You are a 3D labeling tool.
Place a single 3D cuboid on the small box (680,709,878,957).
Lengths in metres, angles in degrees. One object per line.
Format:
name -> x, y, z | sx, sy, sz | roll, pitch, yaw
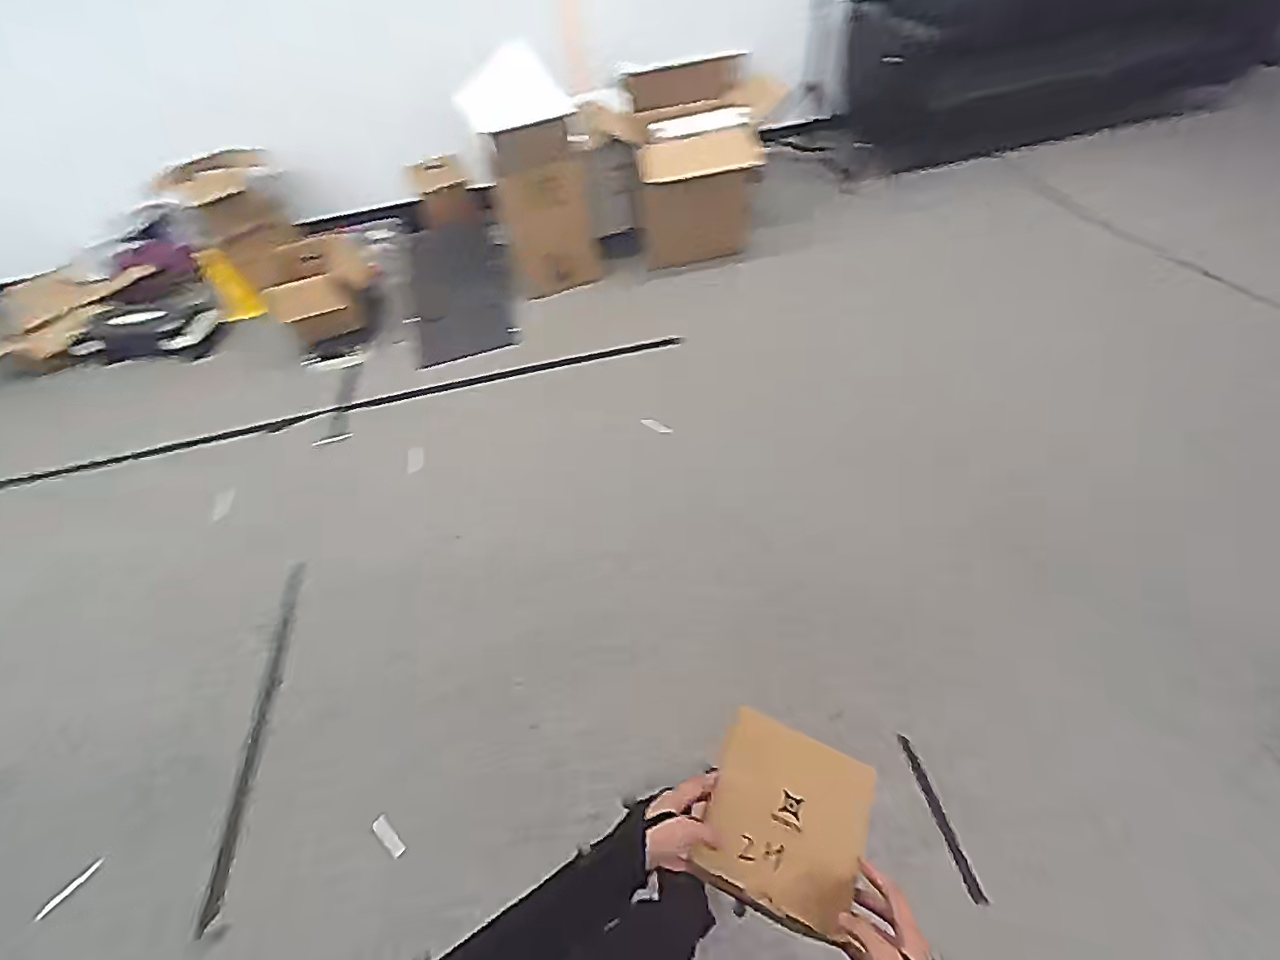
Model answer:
small box -> 0.156, 0.409, 0.642 | 0.168, 0.176, 0.179 | 22, 56, 12
